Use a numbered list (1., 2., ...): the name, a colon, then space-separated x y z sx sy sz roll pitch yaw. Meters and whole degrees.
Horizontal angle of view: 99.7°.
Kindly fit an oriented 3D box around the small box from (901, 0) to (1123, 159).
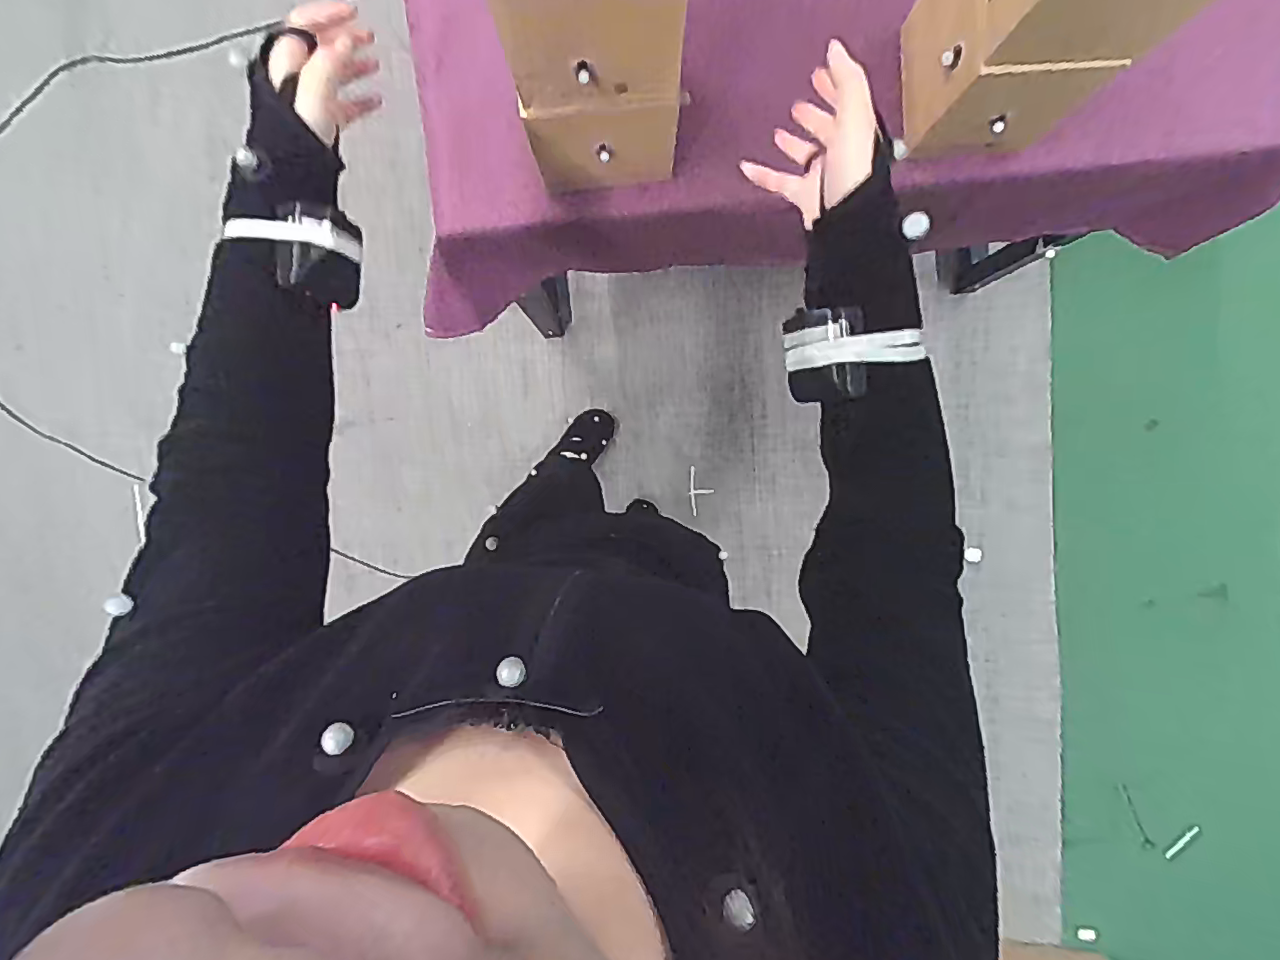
1. small box: 0.441 -0.520 0.664 0.168 0.176 0.179 -3 92 -1

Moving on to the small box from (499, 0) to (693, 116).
1. small box: -0.046 -0.480 0.498 0.168 0.176 0.179 -6 93 0

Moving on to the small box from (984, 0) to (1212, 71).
1. small box: 0.450 -0.518 0.500 0.179 0.176 0.168 -2 92 -1
